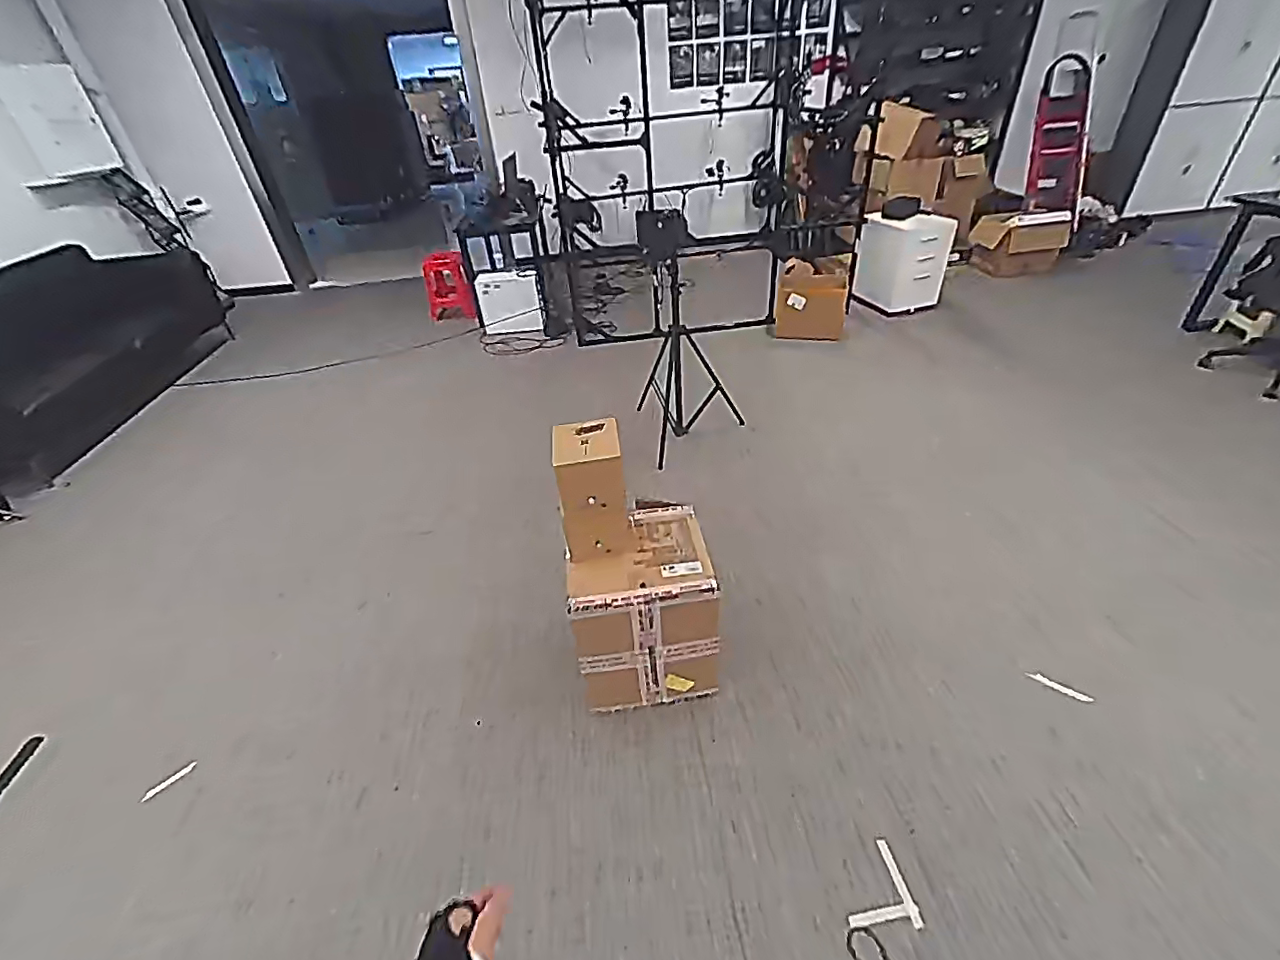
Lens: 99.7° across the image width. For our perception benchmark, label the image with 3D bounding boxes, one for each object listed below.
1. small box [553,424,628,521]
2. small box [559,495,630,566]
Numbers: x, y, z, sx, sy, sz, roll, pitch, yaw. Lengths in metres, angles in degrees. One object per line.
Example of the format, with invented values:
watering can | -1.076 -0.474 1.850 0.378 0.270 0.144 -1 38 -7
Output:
small box | -0.126 -0.020 1.384 0.168 0.176 0.179 -9 39 -2
small box | -0.126 0.109 1.488 0.168 0.176 0.179 -11 39 -4
